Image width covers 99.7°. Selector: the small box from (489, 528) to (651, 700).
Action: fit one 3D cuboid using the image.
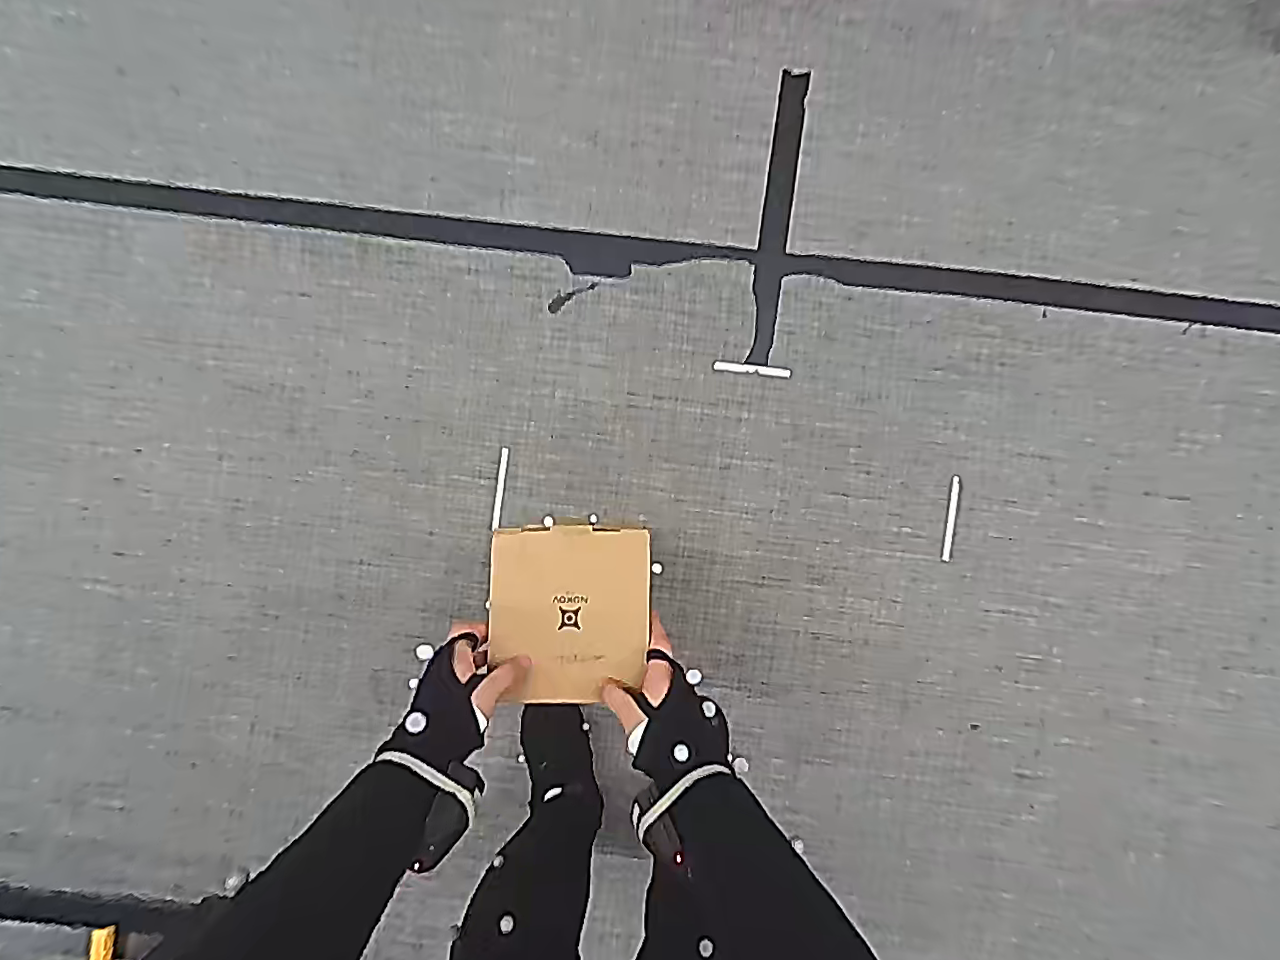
[{"bbox_3d":[-0.073,0.147,0.637,0.168,0.176,0.179,0,84,-1],"label":"small box"}]
